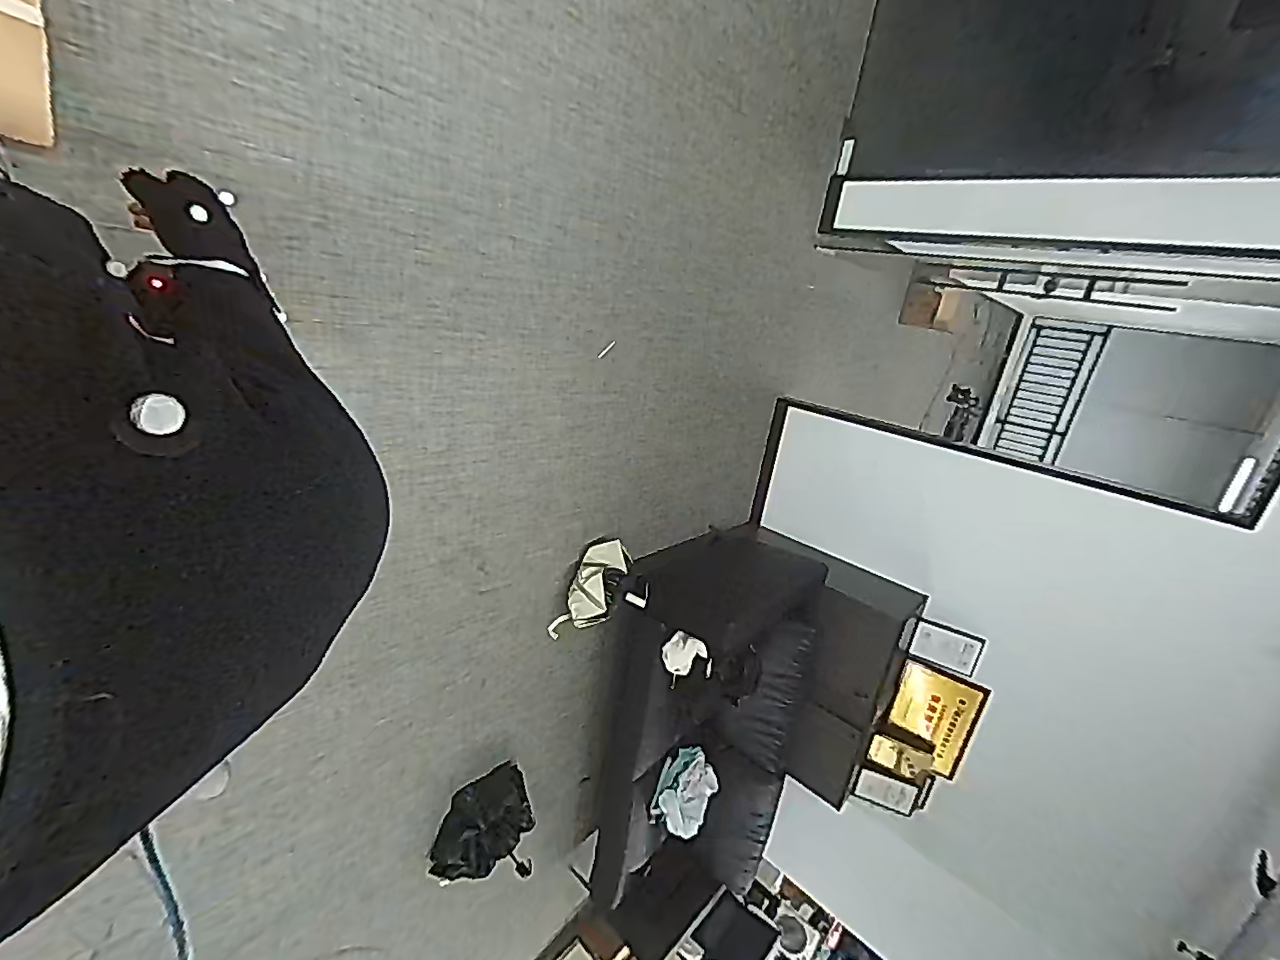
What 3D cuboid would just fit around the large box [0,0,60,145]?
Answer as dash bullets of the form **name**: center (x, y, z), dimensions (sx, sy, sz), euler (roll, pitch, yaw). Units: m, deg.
- **large box**: center (-1.023, -0.652, 0.655), dimensions (0.408, 0.320, 0.320), euler (-7, 115, -49)
